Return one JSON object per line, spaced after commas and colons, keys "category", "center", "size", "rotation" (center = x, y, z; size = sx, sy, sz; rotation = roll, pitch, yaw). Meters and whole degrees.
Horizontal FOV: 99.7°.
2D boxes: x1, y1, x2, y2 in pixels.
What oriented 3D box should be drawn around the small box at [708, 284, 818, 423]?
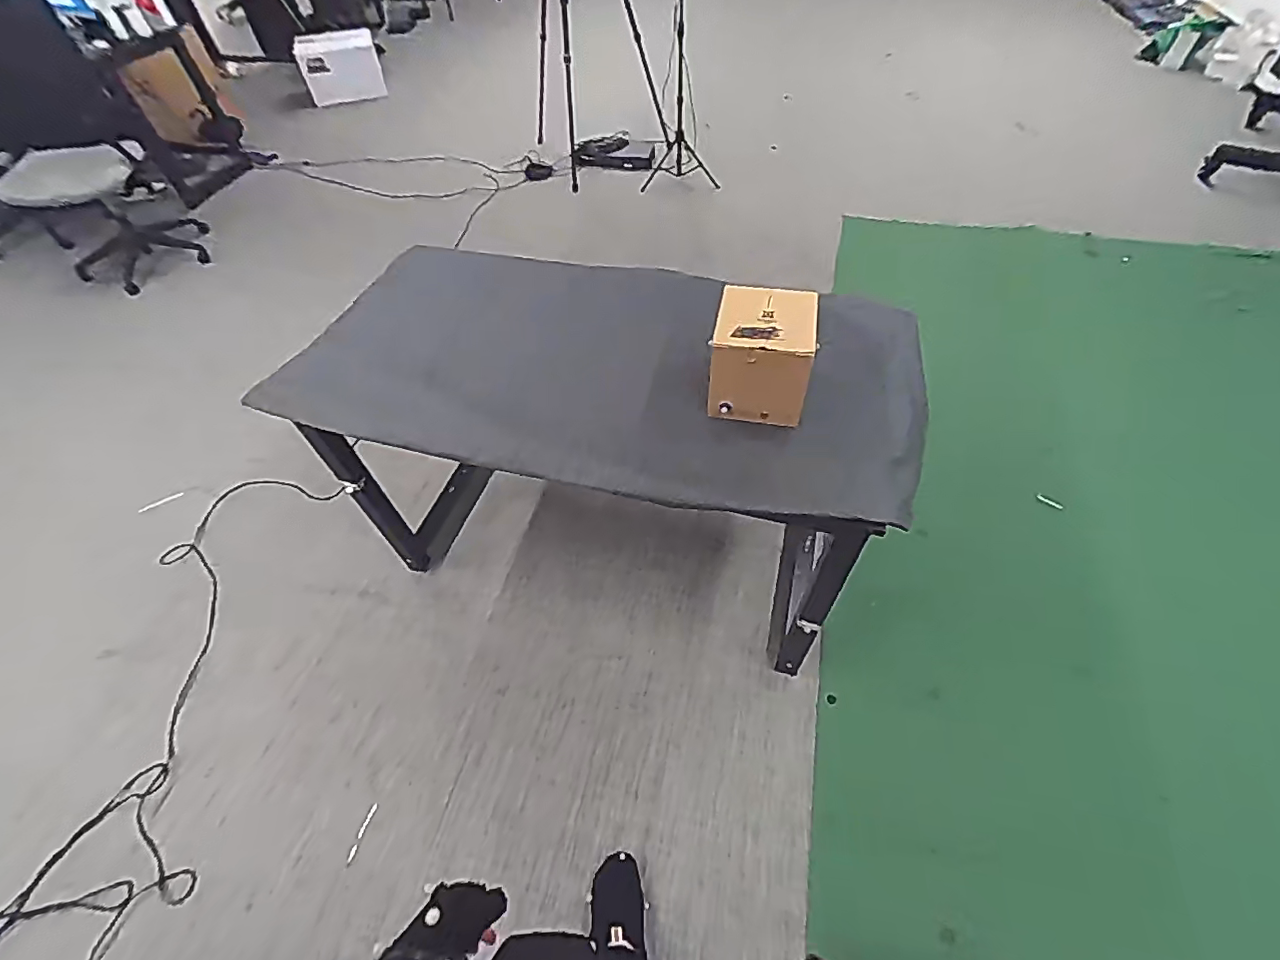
{"category": "small box", "center": [0.216, -0.223, 0.968], "size": [0.168, 0.176, 0.179], "rotation": [9, 52, 10]}
